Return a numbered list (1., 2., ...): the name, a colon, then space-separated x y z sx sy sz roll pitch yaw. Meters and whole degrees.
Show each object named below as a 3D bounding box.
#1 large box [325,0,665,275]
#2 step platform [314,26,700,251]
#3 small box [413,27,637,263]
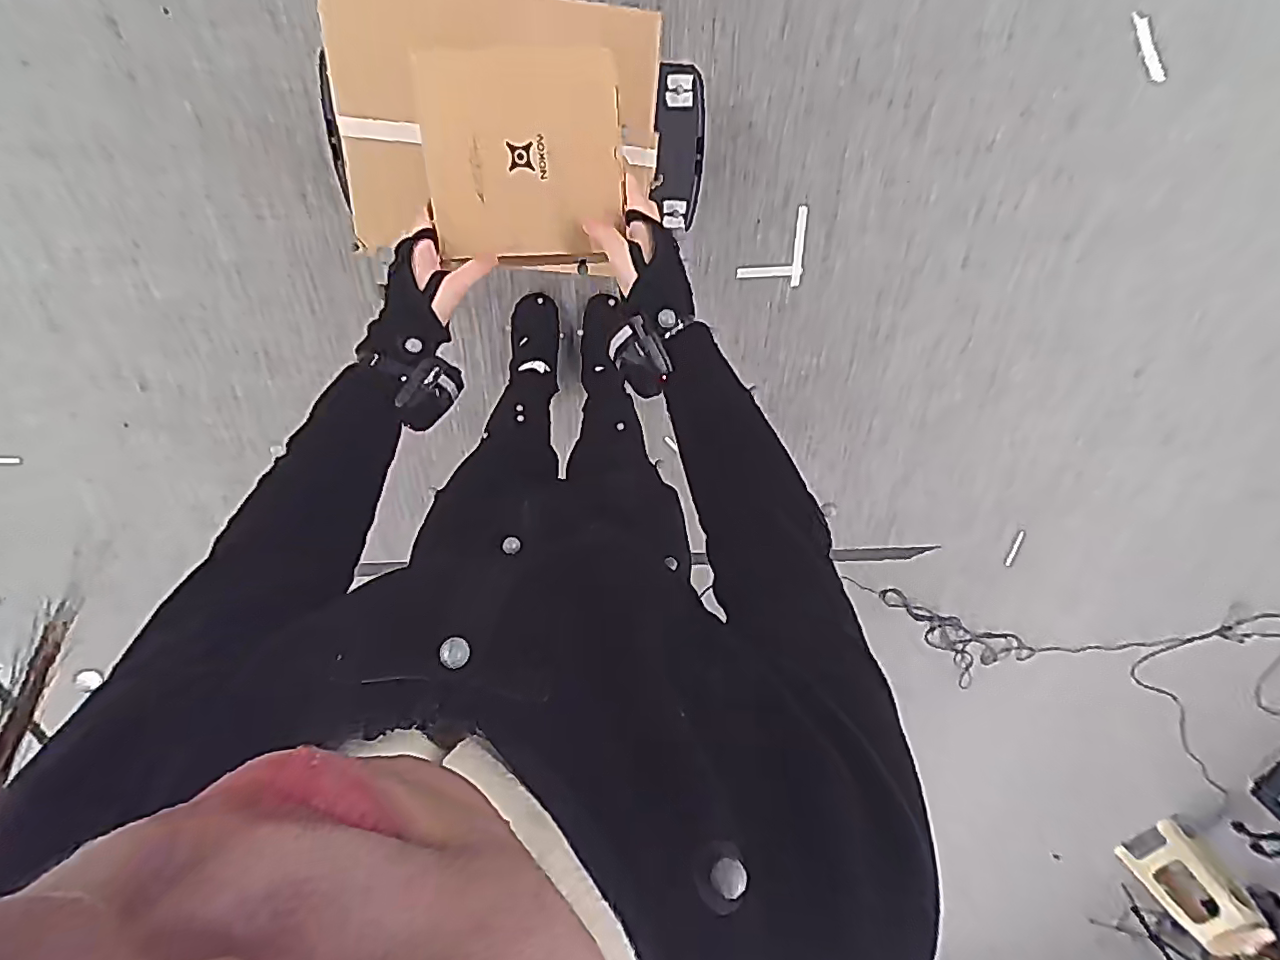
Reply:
1. large box: -0.184 -0.516 0.831 0.408 0.320 0.320 3 119 -6
2. step platform: -0.229 -0.631 1.037 0.684 0.204 0.286 4 119 -7
3. small box: -0.100 -0.309 0.534 0.179 0.176 0.168 -4 108 -5
